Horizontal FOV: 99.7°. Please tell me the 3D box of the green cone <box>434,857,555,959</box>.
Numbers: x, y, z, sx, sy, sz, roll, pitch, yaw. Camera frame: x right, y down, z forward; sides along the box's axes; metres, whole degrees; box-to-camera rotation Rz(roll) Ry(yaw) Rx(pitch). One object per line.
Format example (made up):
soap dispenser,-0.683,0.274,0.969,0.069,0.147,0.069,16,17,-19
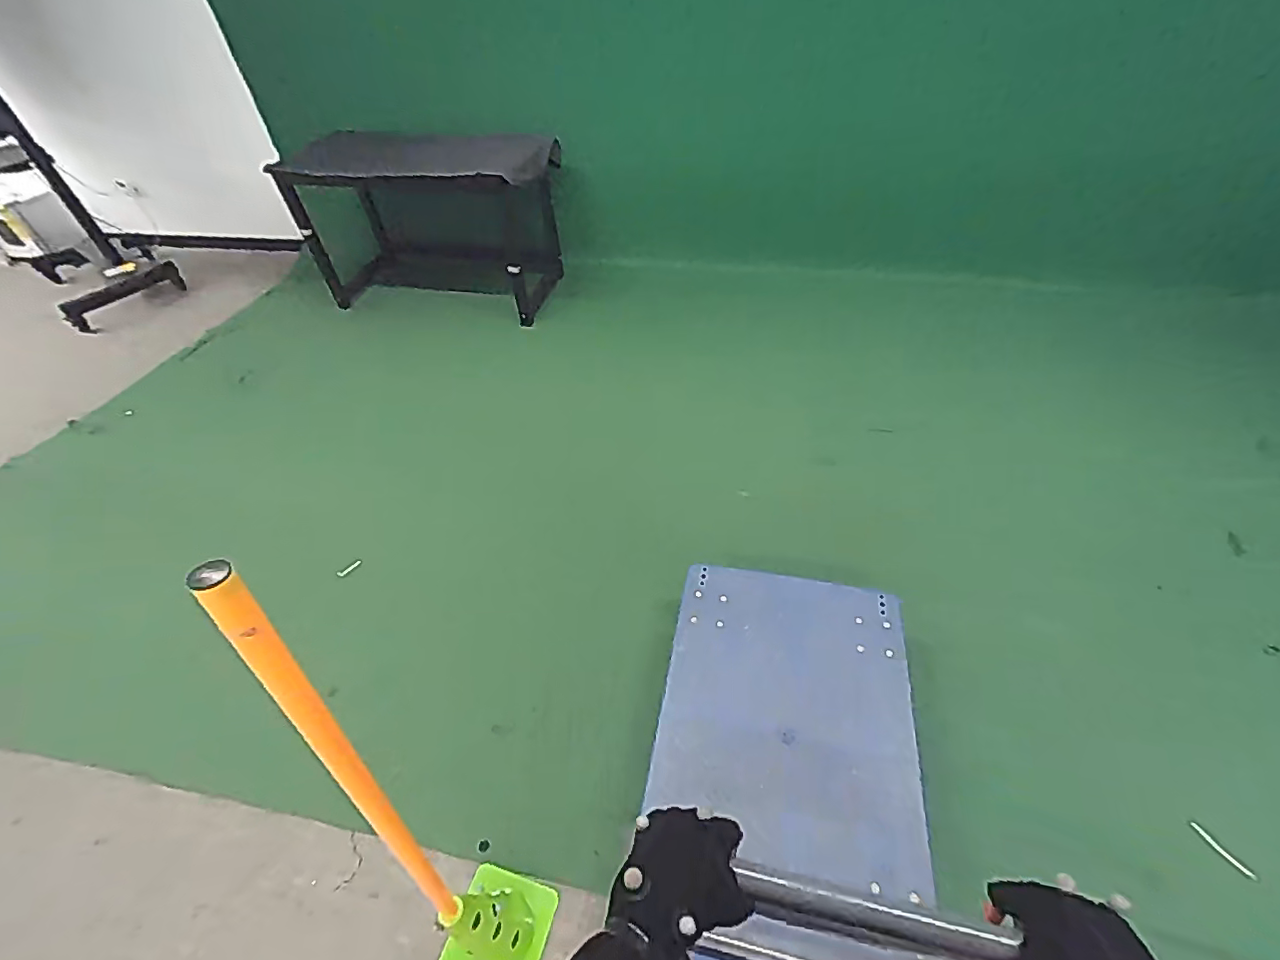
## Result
green cone,-0.311,0.826,1.034,0.202,0.368,0.200,10,47,14
